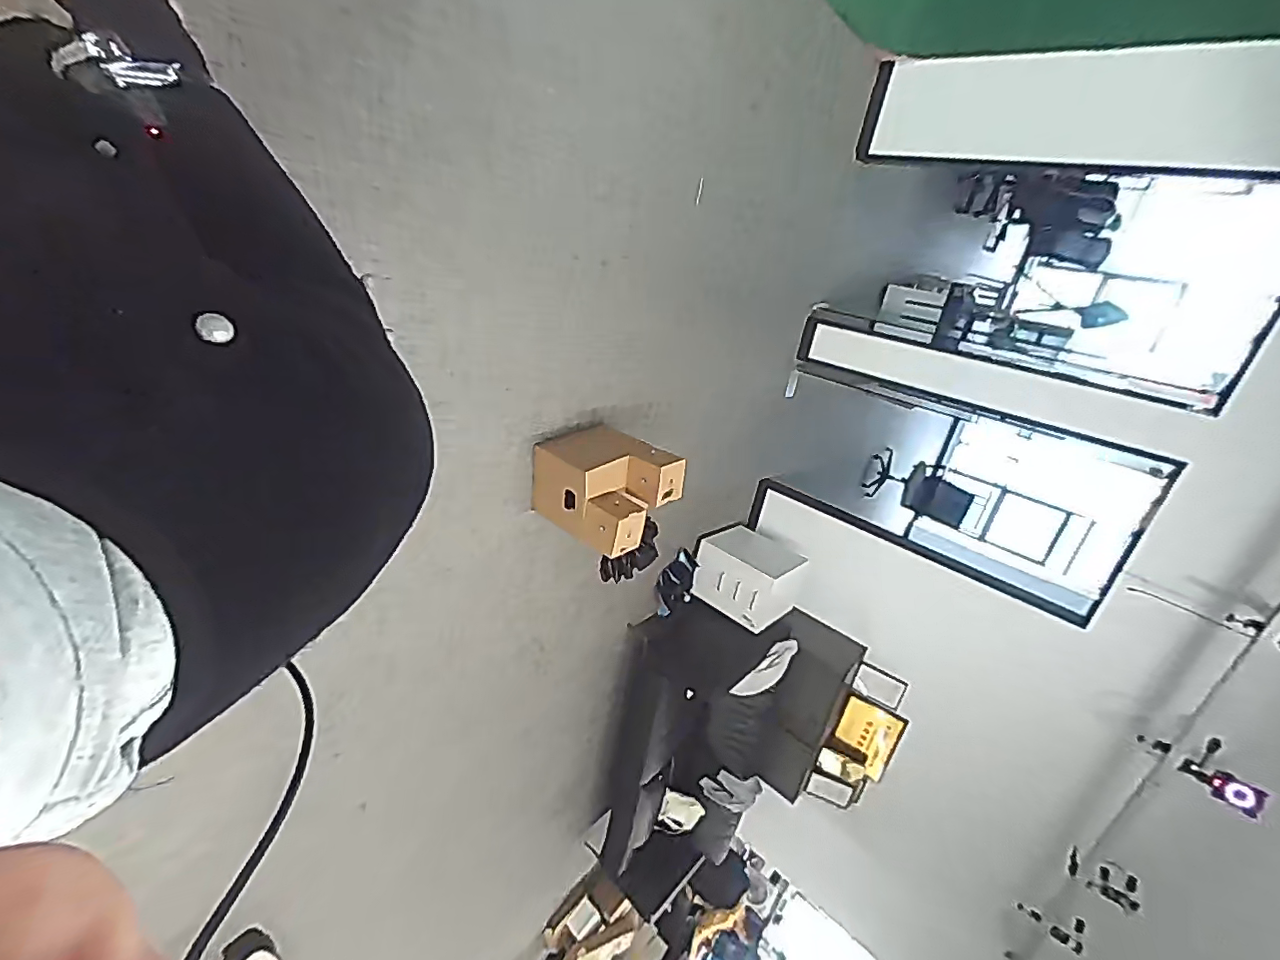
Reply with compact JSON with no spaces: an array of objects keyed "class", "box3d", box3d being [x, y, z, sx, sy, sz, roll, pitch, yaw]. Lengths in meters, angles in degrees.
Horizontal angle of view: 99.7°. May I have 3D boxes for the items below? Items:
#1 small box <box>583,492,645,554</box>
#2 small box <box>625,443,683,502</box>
[{"class":"small box","box3d":[-0.105,0.159,2.111,0.168,0.176,0.179,-19,127,-48]},{"class":"small box","box3d":[0.053,-0.034,2.207,0.168,0.176,0.179,-22,125,-47]}]
